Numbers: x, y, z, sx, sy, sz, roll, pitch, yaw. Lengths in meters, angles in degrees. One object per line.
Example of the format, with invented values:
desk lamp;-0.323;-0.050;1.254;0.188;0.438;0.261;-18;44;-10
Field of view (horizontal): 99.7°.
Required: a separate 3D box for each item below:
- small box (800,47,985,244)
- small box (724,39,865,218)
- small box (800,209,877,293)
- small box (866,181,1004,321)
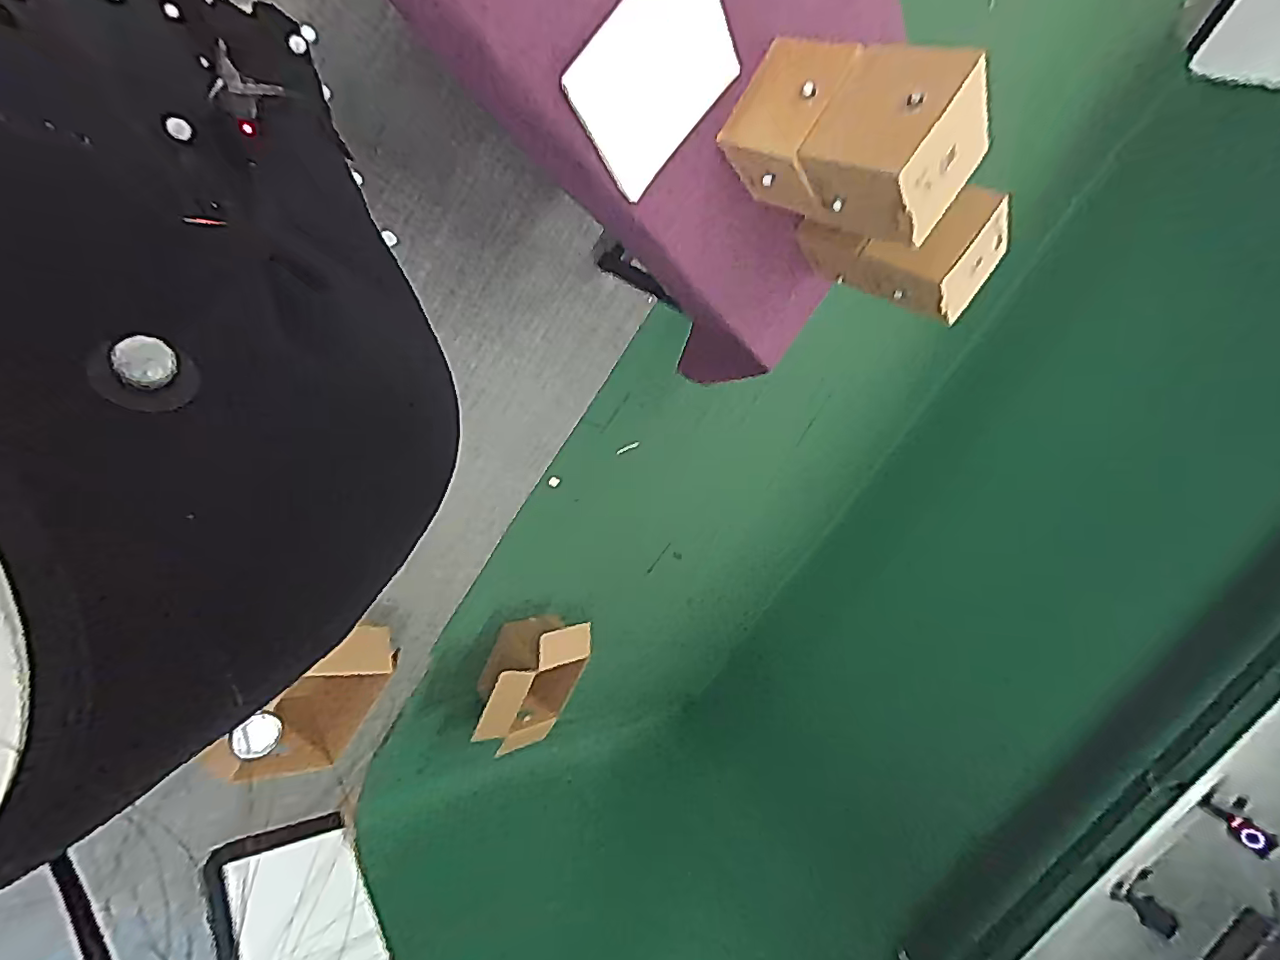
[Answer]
small box;0.368;-0.488;0.790;0.179;0.176;0.168;-55;144;8
small box;0.260;-0.572;0.884;0.168;0.176;0.179;19;107;-53
small box;0.459;-0.532;1.132;0.179;0.176;0.168;-55;145;8
small box;0.557;-0.444;1.034;0.179;0.176;0.168;-54;146;9
